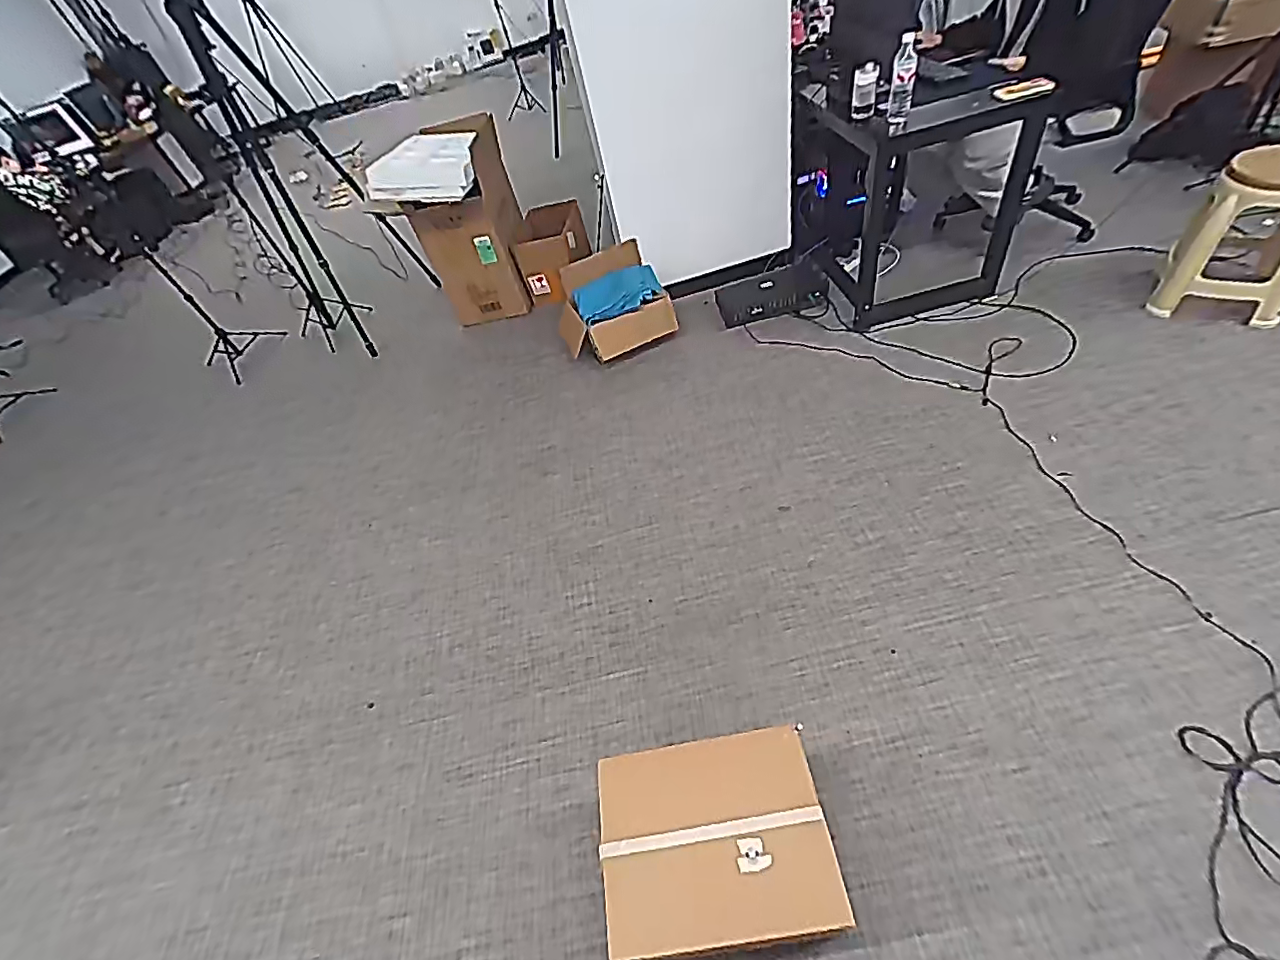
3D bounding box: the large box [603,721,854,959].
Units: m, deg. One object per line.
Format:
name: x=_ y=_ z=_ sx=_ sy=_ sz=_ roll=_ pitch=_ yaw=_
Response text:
large box: x=0.162 y=0.728 z=1.084 sx=0.408 sy=0.320 sz=0.320 roll=-12 pitch=48 yaw=4
